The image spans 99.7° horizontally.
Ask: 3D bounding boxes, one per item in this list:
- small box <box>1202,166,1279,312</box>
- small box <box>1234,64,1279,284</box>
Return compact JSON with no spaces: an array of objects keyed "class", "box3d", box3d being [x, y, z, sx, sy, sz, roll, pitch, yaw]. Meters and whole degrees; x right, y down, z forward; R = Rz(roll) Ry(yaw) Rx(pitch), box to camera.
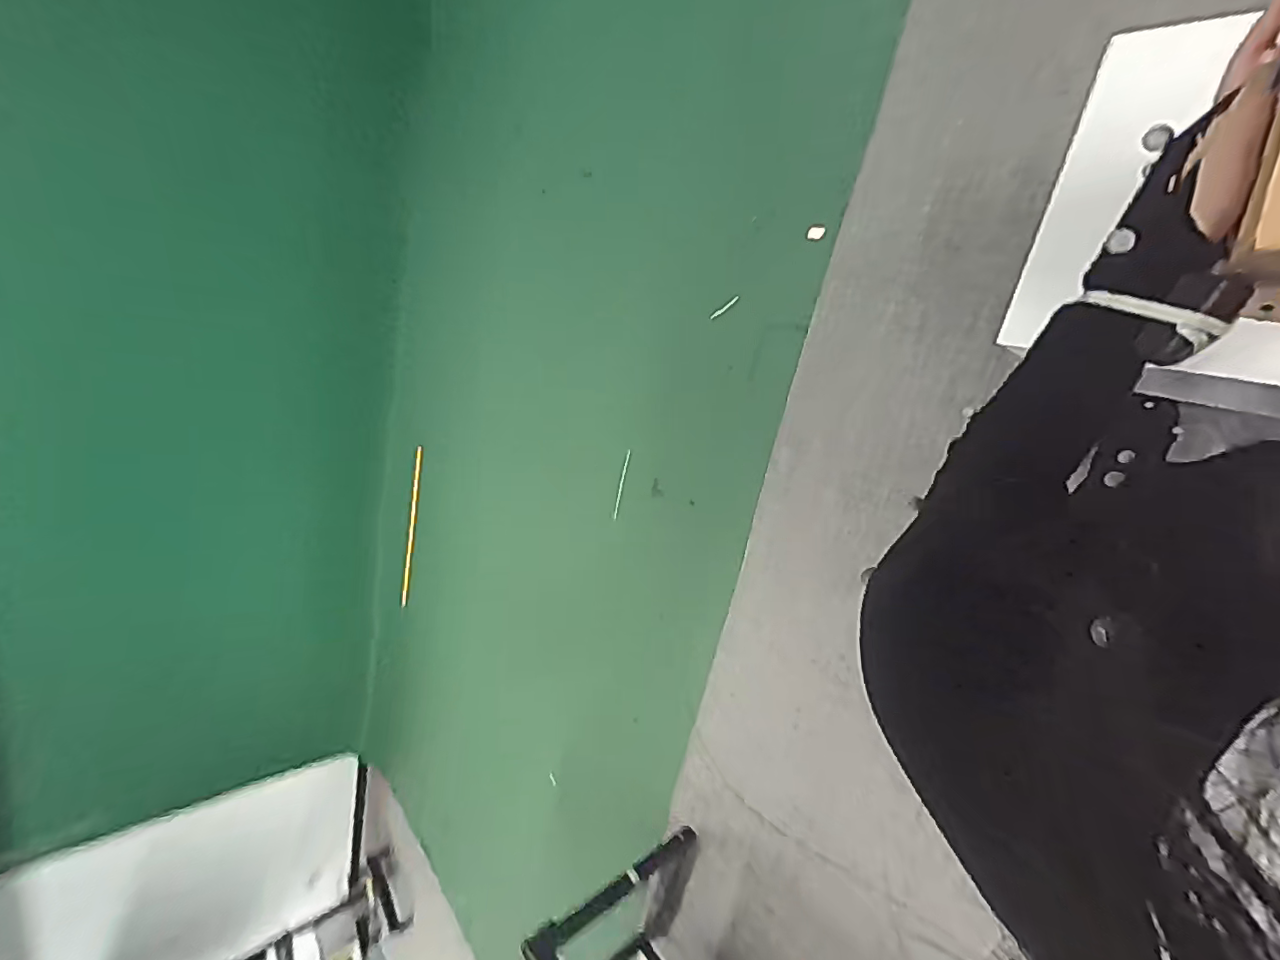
[{"class":"small box","box3d":[0.678,-0.259,0.507,0.168,0.176,0.179,31,113,41]},{"class":"small box","box3d":[0.427,-0.202,0.258,0.168,0.176,0.179,13,106,42]}]
